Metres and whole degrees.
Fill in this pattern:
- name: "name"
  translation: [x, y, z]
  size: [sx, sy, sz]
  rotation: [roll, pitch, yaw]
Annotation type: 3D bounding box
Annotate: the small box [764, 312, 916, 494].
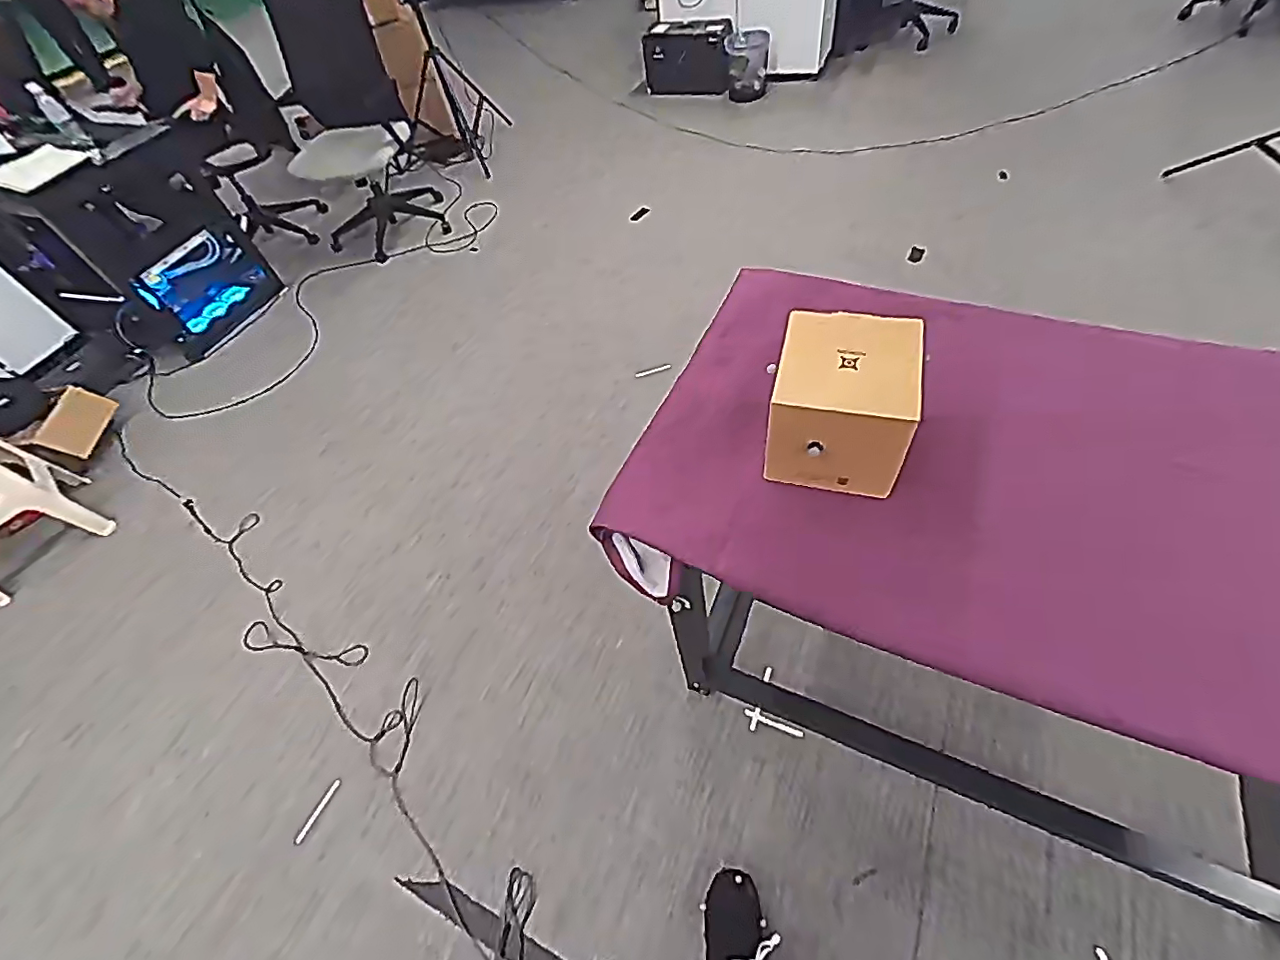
- name: "small box"
  translation: [0.264, -0.102, 0.735]
  size: [0.168, 0.176, 0.179]
  rotation: [9, 56, 16]
